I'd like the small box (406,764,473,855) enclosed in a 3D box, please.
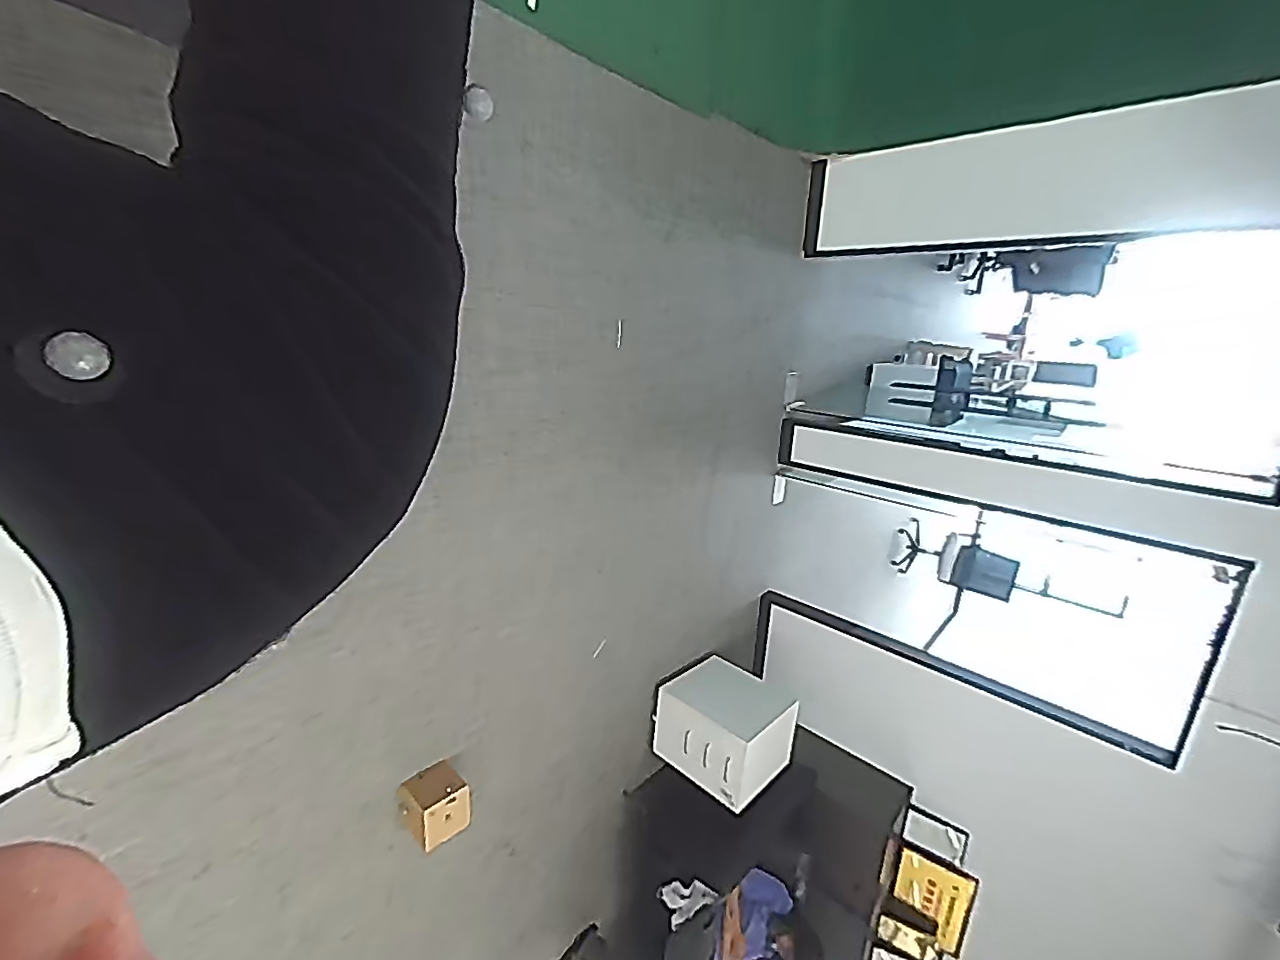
[{"bbox_3d":[-0.704,1.147,1.895,0.168,0.176,0.179,-12,111,-47],"label":"small box"}]
